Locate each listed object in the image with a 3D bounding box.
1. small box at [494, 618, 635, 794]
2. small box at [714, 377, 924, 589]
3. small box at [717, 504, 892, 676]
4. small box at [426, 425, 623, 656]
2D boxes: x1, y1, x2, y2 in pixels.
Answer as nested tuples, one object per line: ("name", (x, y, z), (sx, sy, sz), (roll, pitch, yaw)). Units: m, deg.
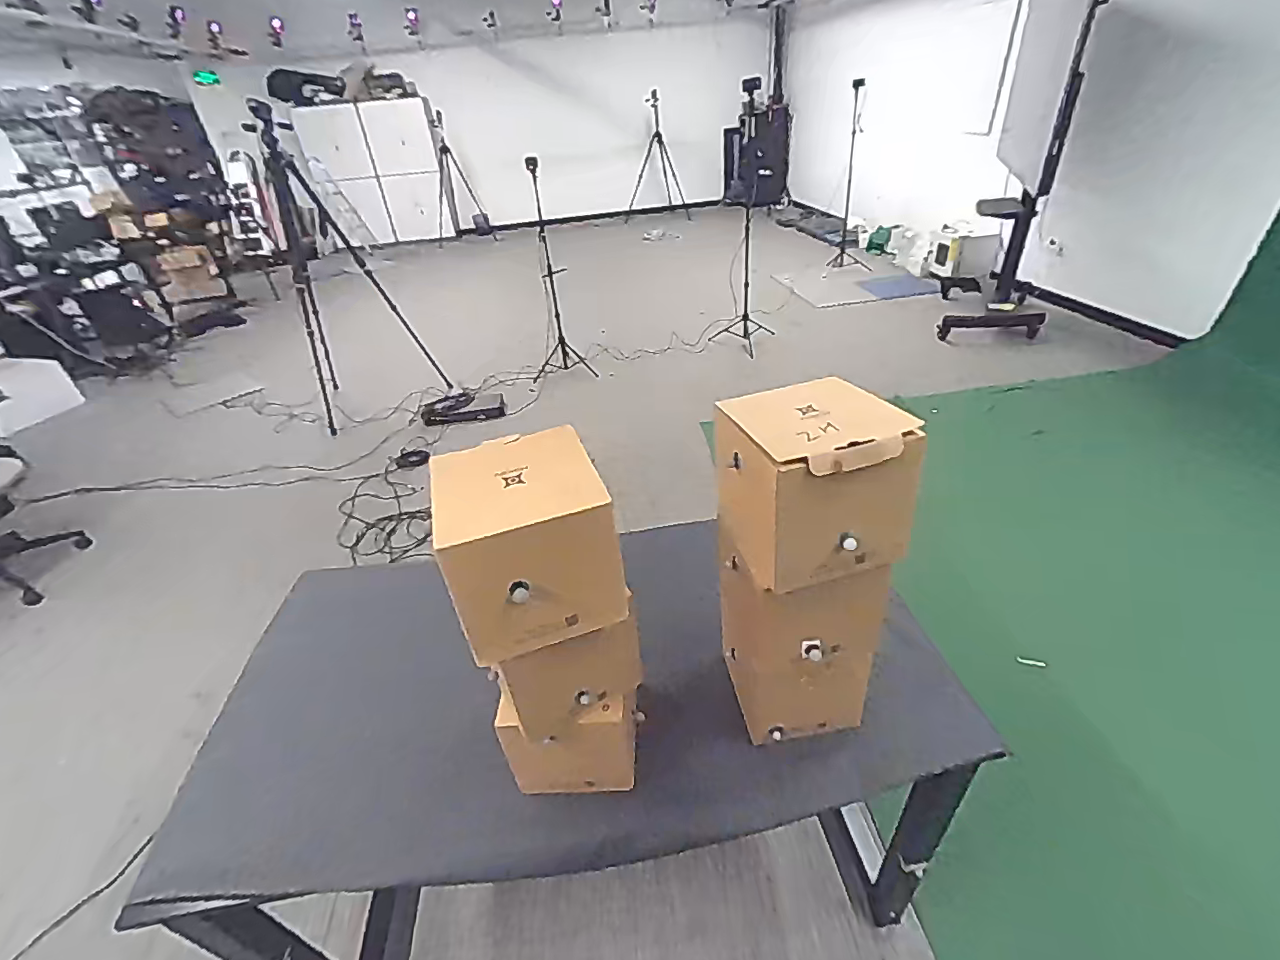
("small box", (-0.097, 0.327, 0.791), (0.168, 0.176, 0.179), (-4, 33, 3))
("small box", (0.195, -0.002, 0.640), (0.168, 0.176, 0.179), (-14, 33, -8))
("small box", (0.209, 0.132, 0.737), (0.168, 0.176, 0.179), (-12, 34, -6))
("small box", (-0.125, 0.067, 0.593), (0.168, 0.176, 0.179), (-16, 35, -14))
